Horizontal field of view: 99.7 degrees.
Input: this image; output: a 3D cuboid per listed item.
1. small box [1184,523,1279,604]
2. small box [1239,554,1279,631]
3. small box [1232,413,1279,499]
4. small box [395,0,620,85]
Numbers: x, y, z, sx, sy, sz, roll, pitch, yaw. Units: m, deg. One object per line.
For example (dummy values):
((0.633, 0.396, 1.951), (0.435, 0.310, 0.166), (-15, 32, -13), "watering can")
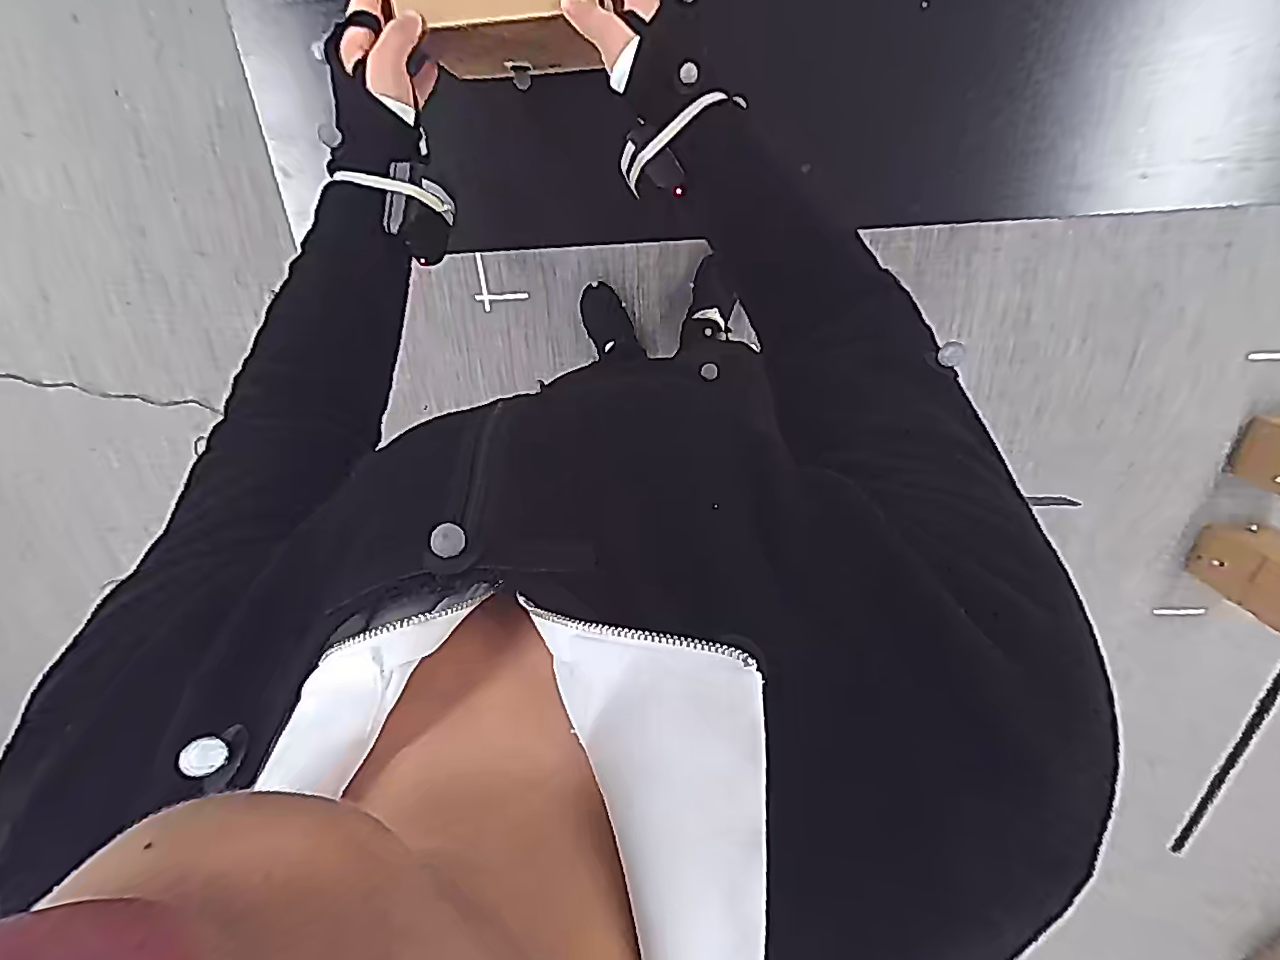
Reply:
((1.709, 0.233, 1.518), (0.179, 0.176, 0.168), (0, 116, 3), "small box")
((1.702, 0.300, 1.367), (0.168, 0.176, 0.179), (-1, 116, 3), "small box")
((1.686, -0.063, 1.374), (0.168, 0.176, 0.179), (-4, 115, 4), "small box")
((-0.110, -0.467, 0.460), (0.168, 0.176, 0.179), (-3, 116, 5), "small box")
